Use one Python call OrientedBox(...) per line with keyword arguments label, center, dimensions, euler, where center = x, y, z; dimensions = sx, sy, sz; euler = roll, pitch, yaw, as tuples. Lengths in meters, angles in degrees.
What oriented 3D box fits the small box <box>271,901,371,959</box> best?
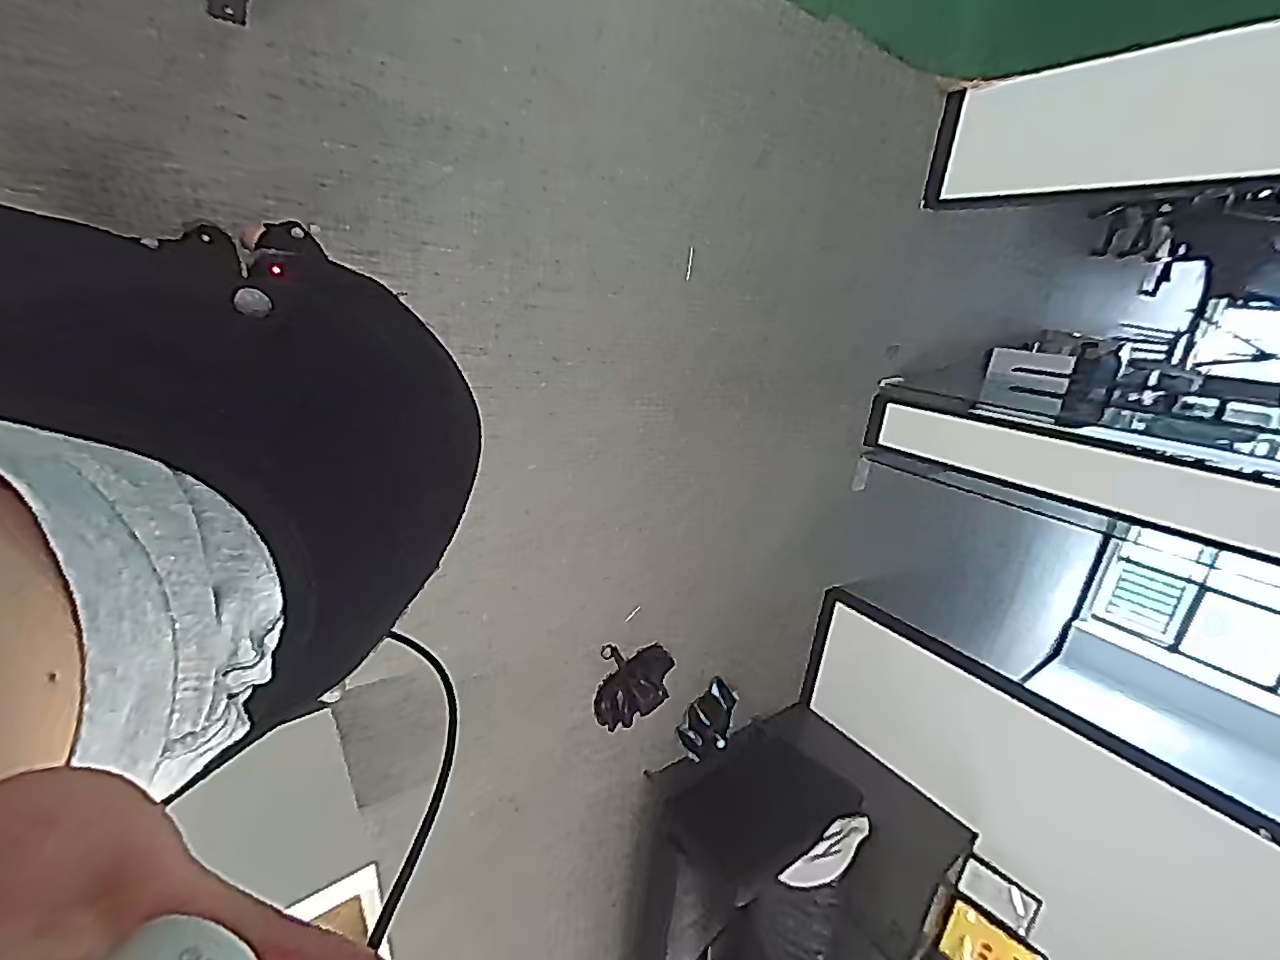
OrientedBox(label="small box", center=(-0.644, 1.029, 1.109), dimensions=(0.168, 0.176, 0.179), euler=(-11, 116, -35))
